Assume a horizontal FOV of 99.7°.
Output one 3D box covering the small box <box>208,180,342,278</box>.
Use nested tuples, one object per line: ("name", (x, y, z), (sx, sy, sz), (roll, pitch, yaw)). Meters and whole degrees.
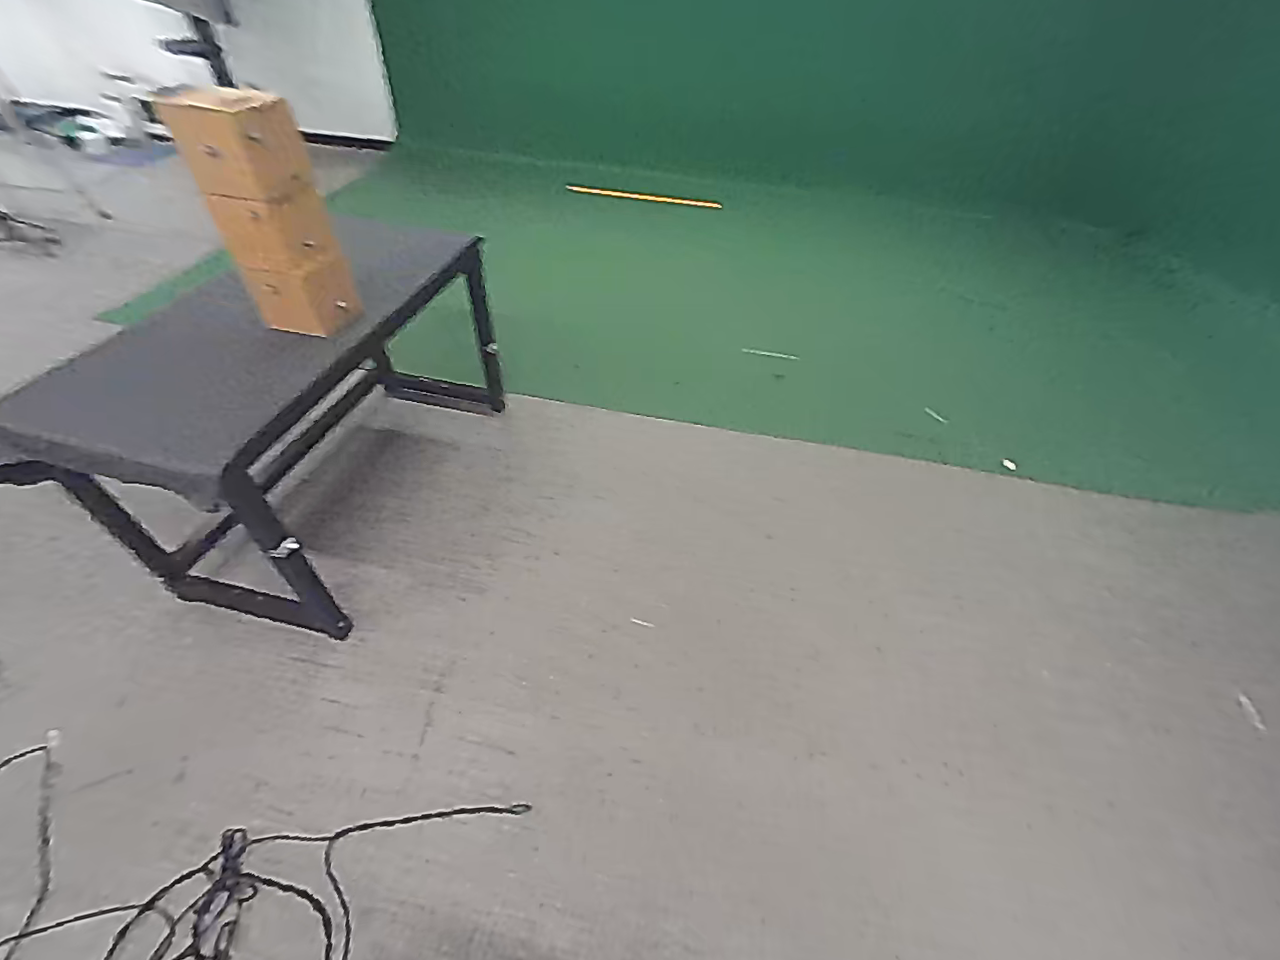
("small box", (-0.866, -0.604, 1.304), (0.179, 0.176, 0.168), (12, 45, 9))

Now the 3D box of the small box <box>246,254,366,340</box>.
("small box", (-0.863, -0.486, 1.415), (0.179, 0.176, 0.168), (11, 46, 9))
